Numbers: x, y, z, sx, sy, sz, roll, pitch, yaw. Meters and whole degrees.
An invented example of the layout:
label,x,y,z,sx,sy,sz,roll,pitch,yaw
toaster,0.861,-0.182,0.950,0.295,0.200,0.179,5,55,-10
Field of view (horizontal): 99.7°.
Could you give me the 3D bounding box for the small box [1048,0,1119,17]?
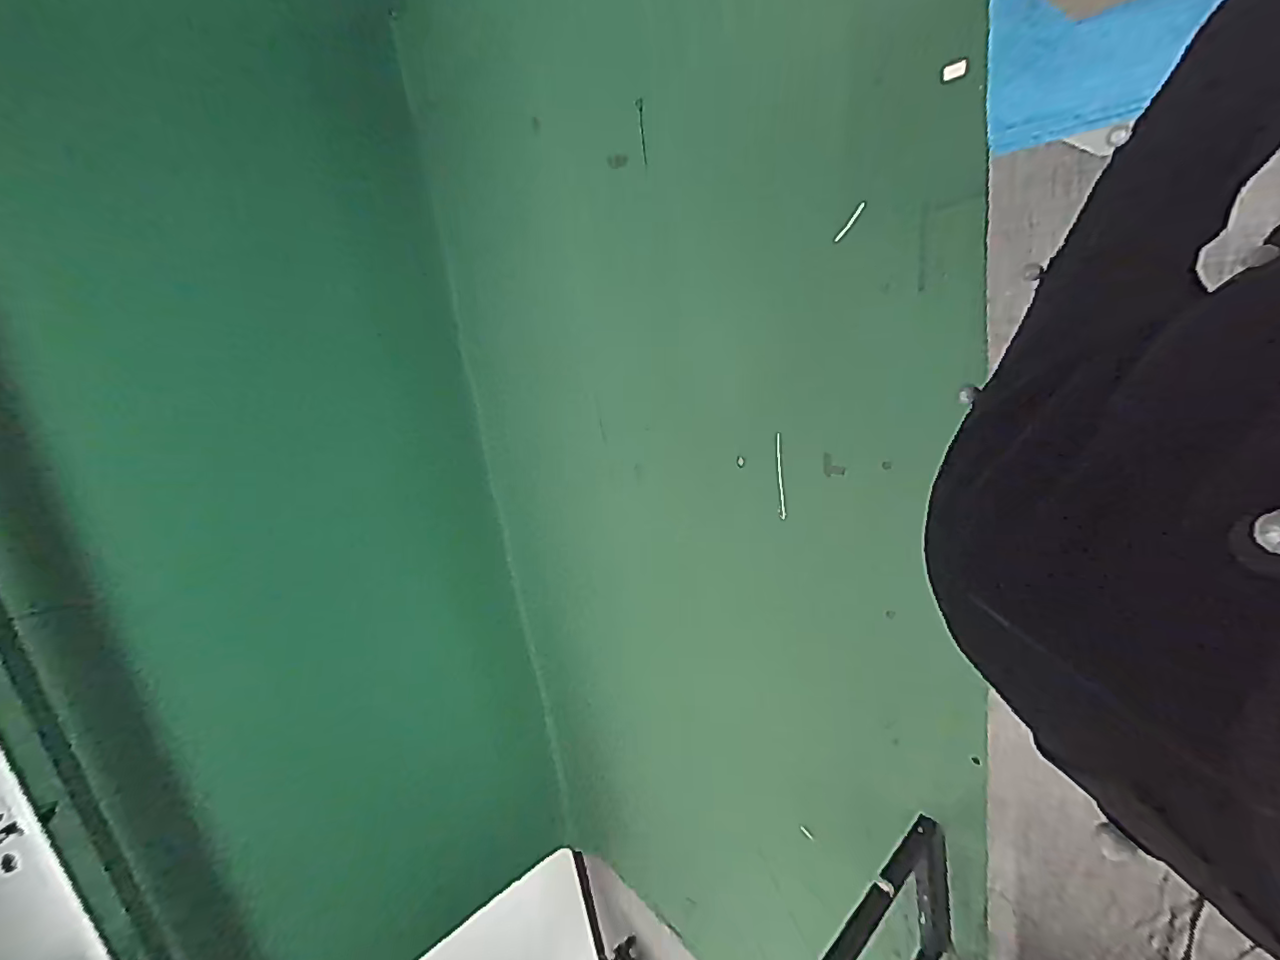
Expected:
label,x,y,z,sx,sy,sz,roll,pitch,yaw
small box,0.502,-0.599,0.519,0.179,0.176,0.168,9,112,50
